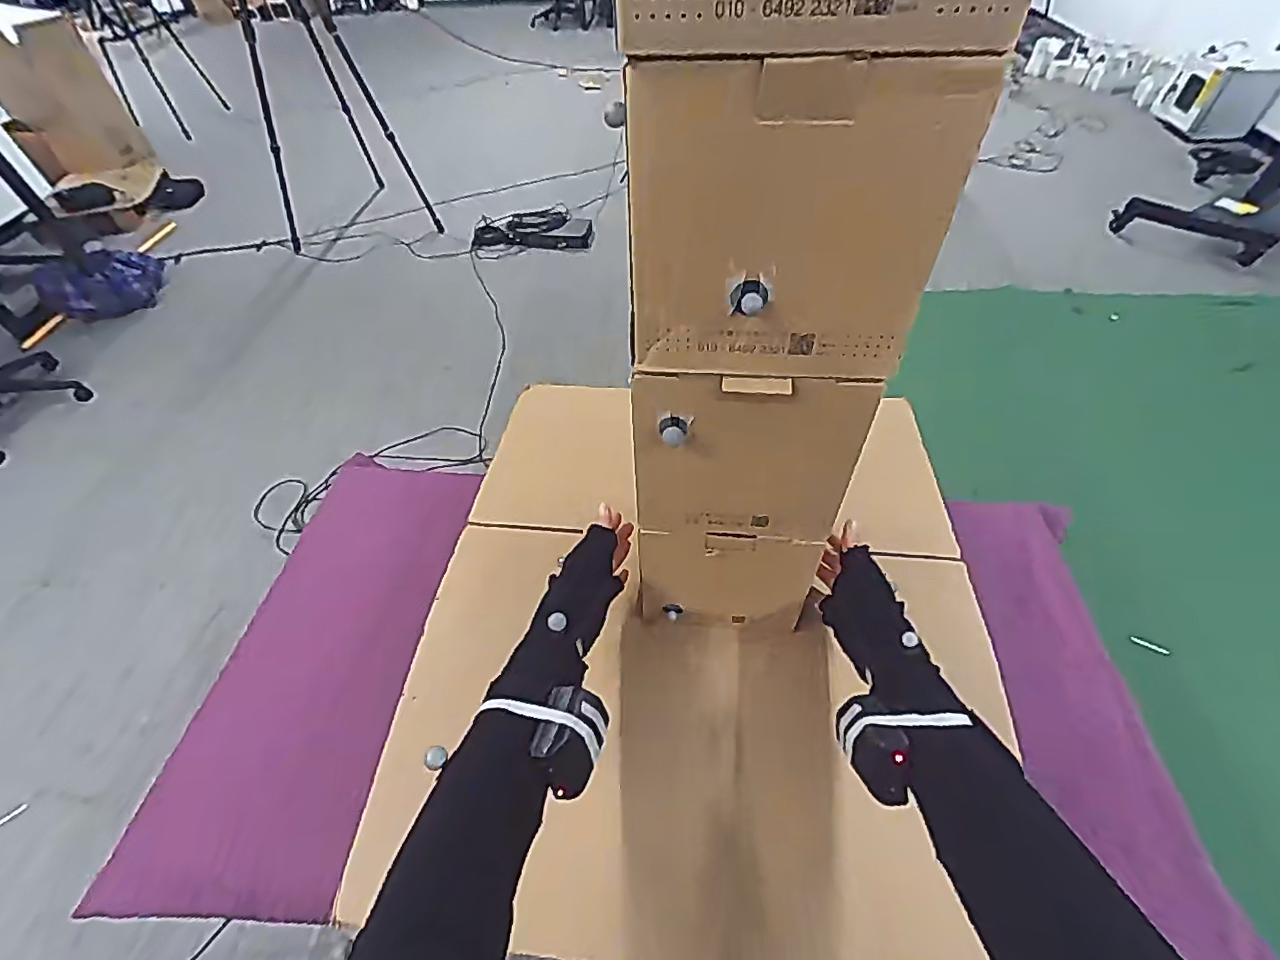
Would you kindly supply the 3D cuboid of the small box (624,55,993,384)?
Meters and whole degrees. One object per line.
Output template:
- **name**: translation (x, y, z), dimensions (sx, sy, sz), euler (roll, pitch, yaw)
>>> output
- **small box**: translation (0.080, -0.185, 0.354), dimensions (0.168, 0.176, 0.179), euler (2, 48, 4)

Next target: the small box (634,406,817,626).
- **small box**: translation (0.088, 0.041, 0.591), dimensions (0.168, 0.176, 0.179), euler (4, 47, 5)

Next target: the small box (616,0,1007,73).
- **small box**: translation (0.072, -0.295, 0.232), dimensions (0.168, 0.176, 0.179), euler (1, 47, 3)
